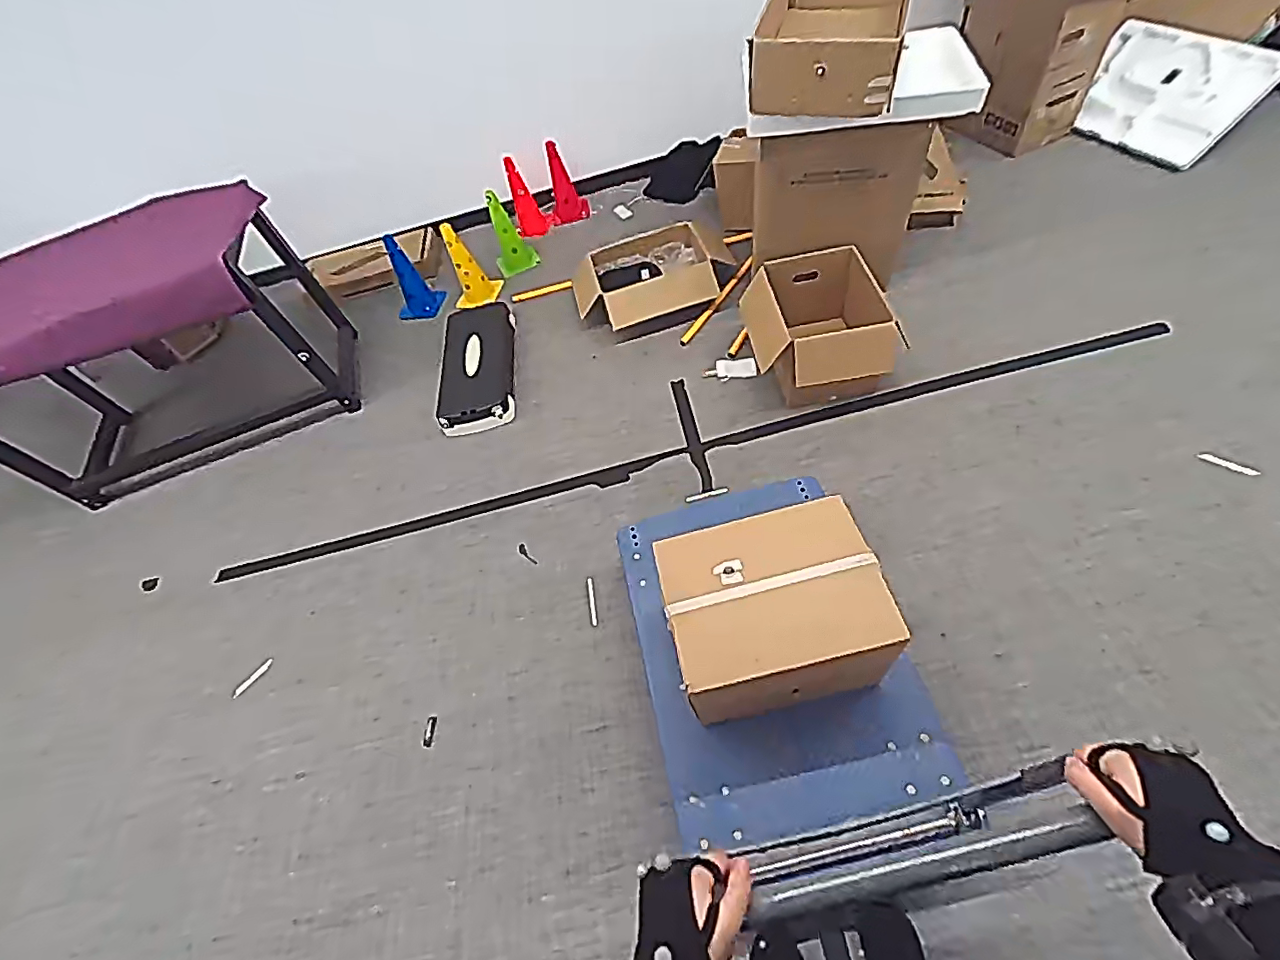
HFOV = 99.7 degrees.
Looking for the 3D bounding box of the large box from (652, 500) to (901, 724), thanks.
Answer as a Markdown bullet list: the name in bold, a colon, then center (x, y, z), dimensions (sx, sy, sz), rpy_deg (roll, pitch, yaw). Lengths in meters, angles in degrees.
- **large box**: center (0.274, 0.296, 1.169), dimensions (0.408, 0.320, 0.320), rpy_deg (-16, 53, 3)
